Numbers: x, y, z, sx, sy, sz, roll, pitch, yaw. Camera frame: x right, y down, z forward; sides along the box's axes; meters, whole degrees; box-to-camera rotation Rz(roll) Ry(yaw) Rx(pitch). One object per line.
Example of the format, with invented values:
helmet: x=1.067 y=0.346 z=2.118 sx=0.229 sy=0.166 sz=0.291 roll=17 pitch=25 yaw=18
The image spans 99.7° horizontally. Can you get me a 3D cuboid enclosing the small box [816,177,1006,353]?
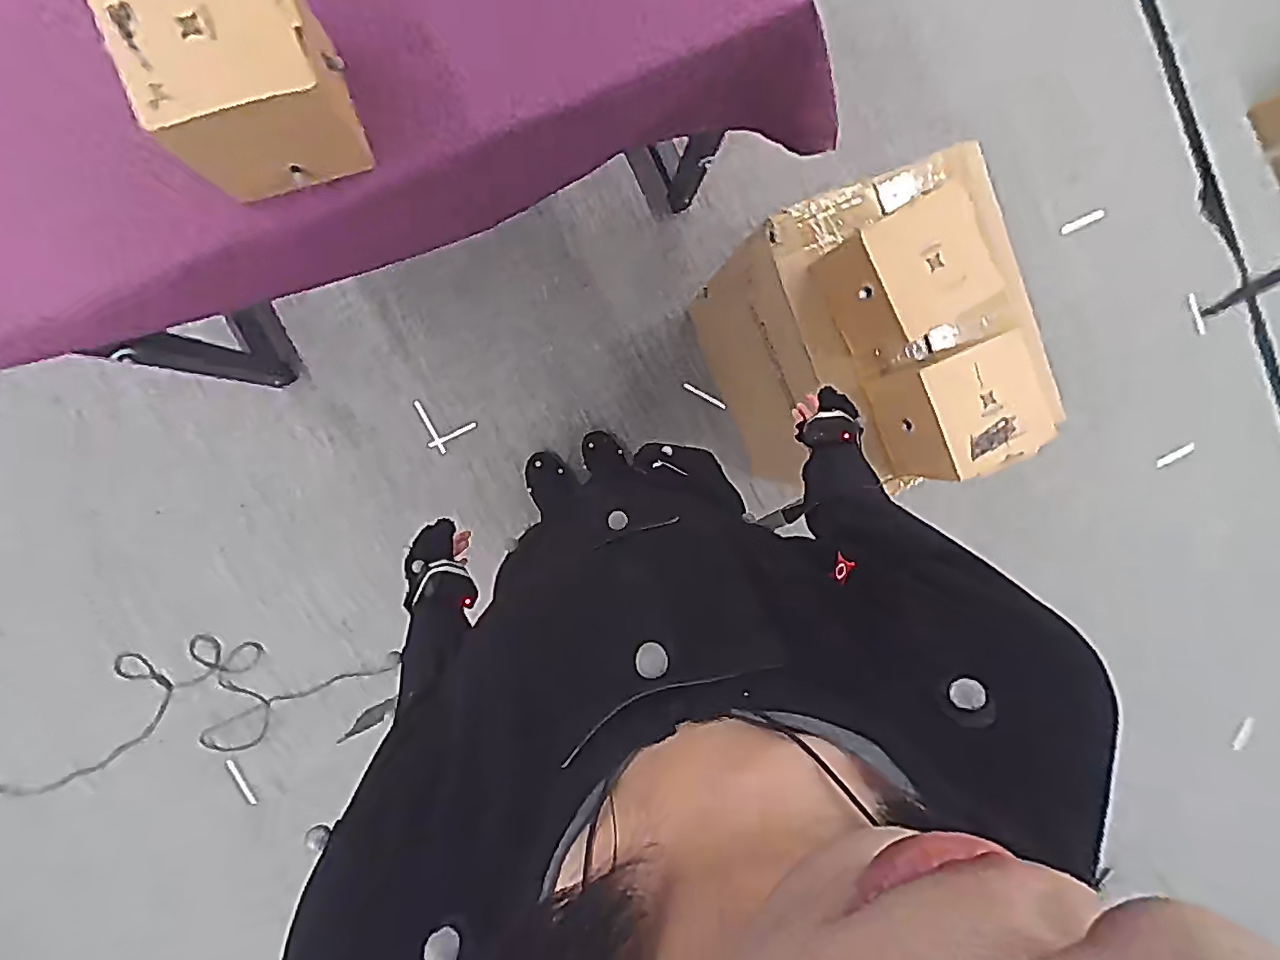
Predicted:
small box: x=0.403 y=-0.316 z=0.833 sx=0.168 sy=0.176 sz=0.179 roll=-29 pitch=98 yaw=-2

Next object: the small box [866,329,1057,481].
small box: x=0.495 y=-0.112 z=0.856 sx=0.168 sy=0.176 sz=0.179 roll=-24 pitch=94 yaw=-4

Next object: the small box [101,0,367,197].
small box: x=-0.437 y=-0.457 z=0.613 sx=0.179 sy=0.176 sz=0.168 roll=-19 pitch=95 yaw=-6
